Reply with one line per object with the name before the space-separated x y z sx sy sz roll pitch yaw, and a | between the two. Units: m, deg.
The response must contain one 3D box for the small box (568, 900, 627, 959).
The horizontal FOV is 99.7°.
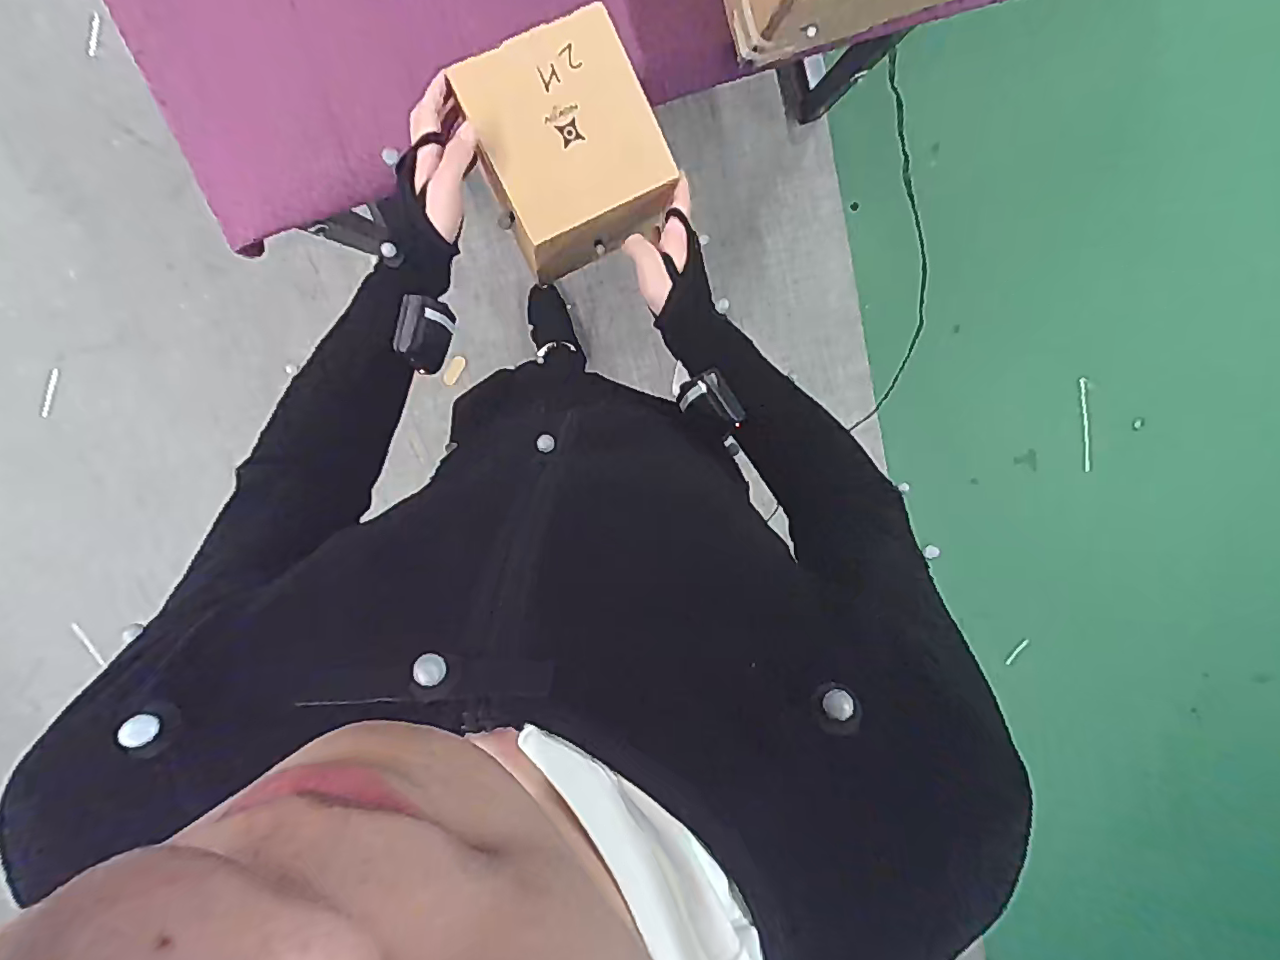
small box | -0.129 1.403 1.612 0.168 0.176 0.179 2 103 -6
